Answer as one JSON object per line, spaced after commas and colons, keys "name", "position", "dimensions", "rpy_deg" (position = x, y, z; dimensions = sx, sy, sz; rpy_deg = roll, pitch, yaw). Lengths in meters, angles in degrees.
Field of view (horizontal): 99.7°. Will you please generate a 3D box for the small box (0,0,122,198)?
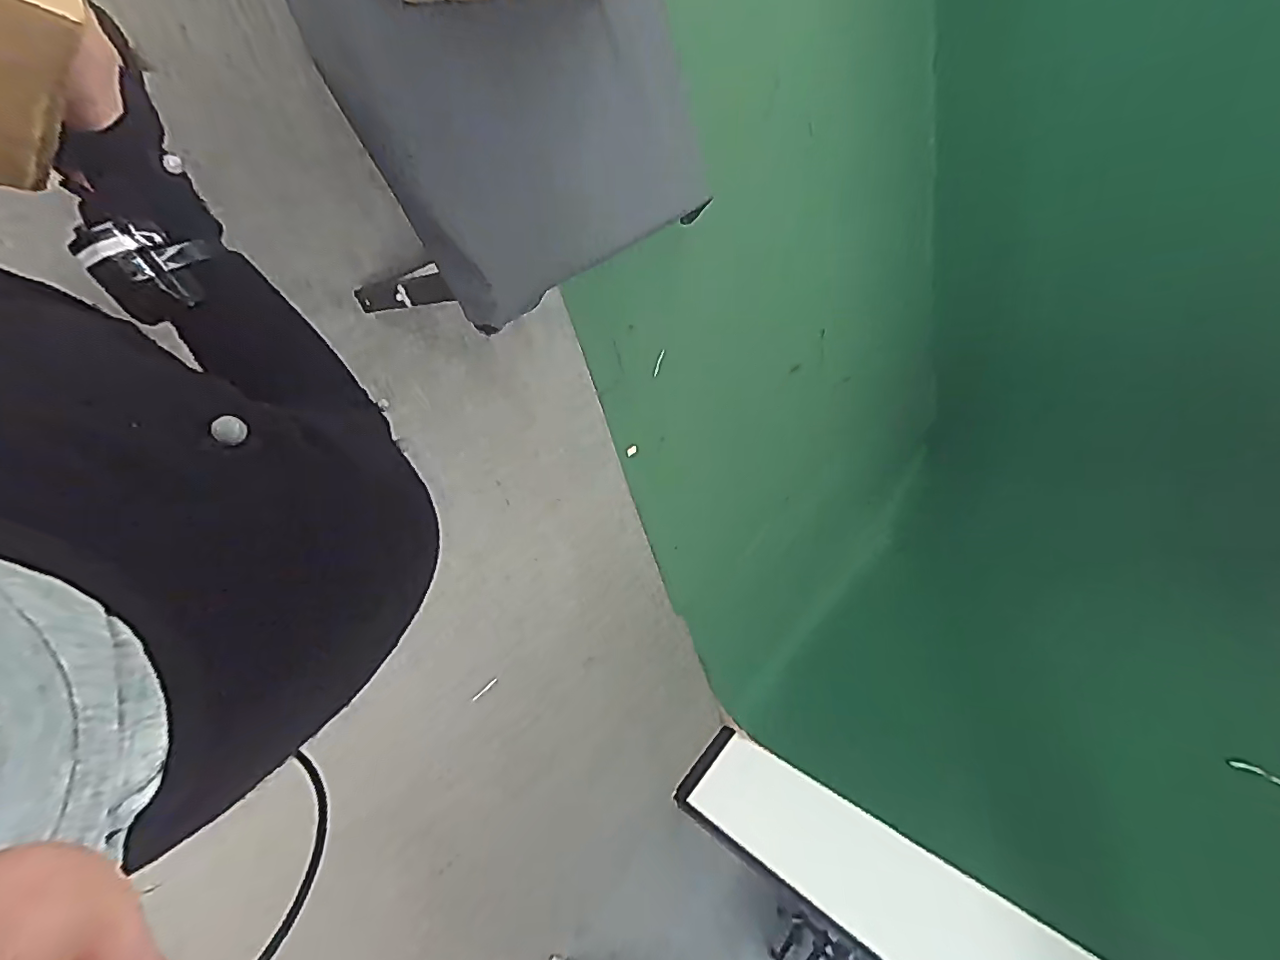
{"name": "small box", "position": [-0.370, -0.254, 0.231], "dimensions": [0.179, 0.176, 0.168], "rpy_deg": [-15, 91, -53]}
